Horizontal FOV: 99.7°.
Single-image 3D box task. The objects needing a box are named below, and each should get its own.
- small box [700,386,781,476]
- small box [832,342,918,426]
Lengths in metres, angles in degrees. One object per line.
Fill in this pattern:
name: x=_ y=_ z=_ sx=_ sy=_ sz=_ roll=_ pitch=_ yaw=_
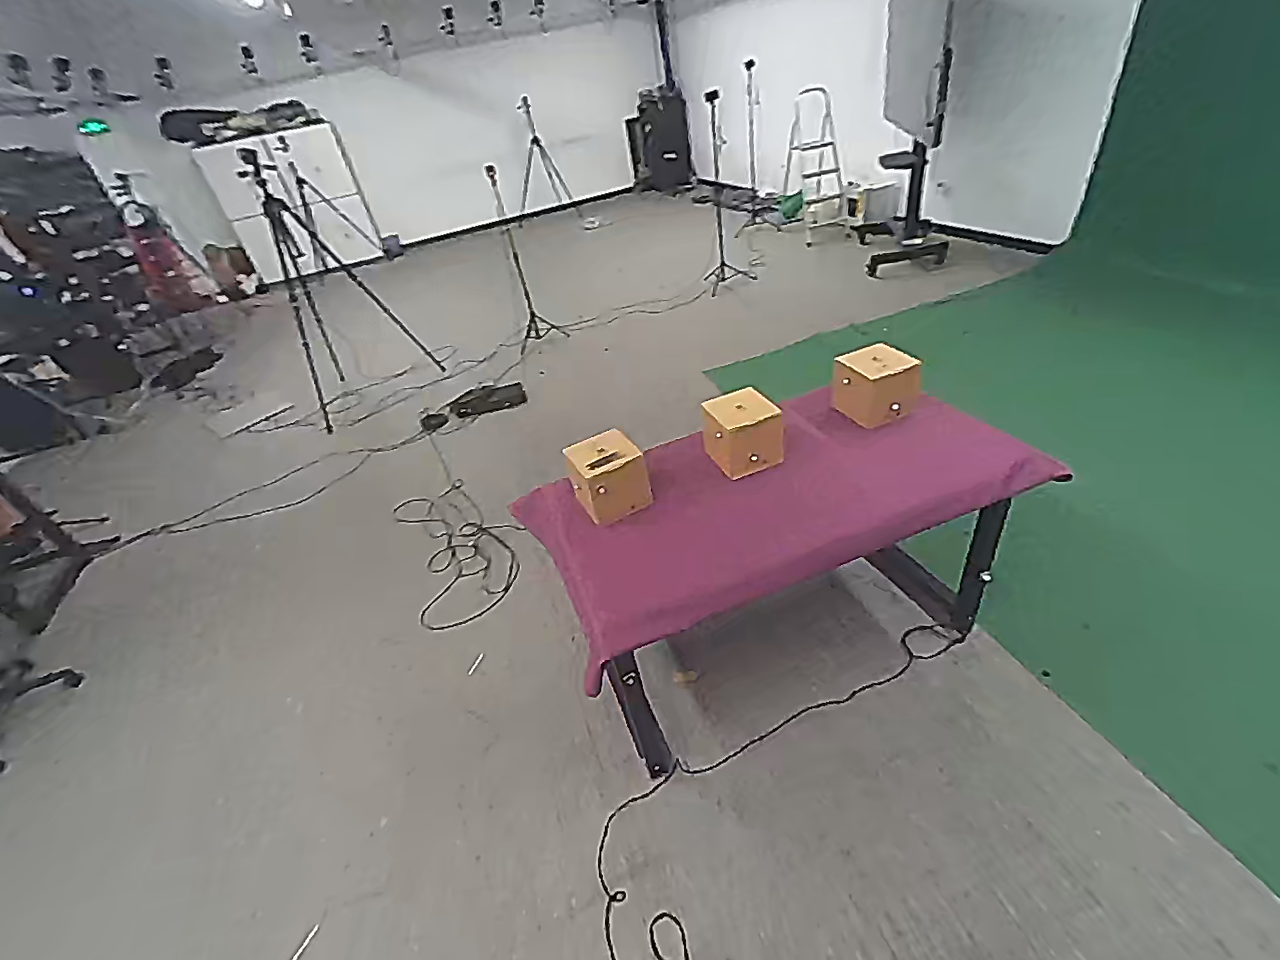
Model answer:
small box: x=0.283 y=-0.139 z=1.537 sx=0.168 sy=0.176 sz=0.179 roll=-19 pitch=39 yaw=-11
small box: x=0.691 y=-0.285 z=1.615 sx=0.168 sy=0.176 sz=0.179 roll=-20 pitch=38 yaw=-9
